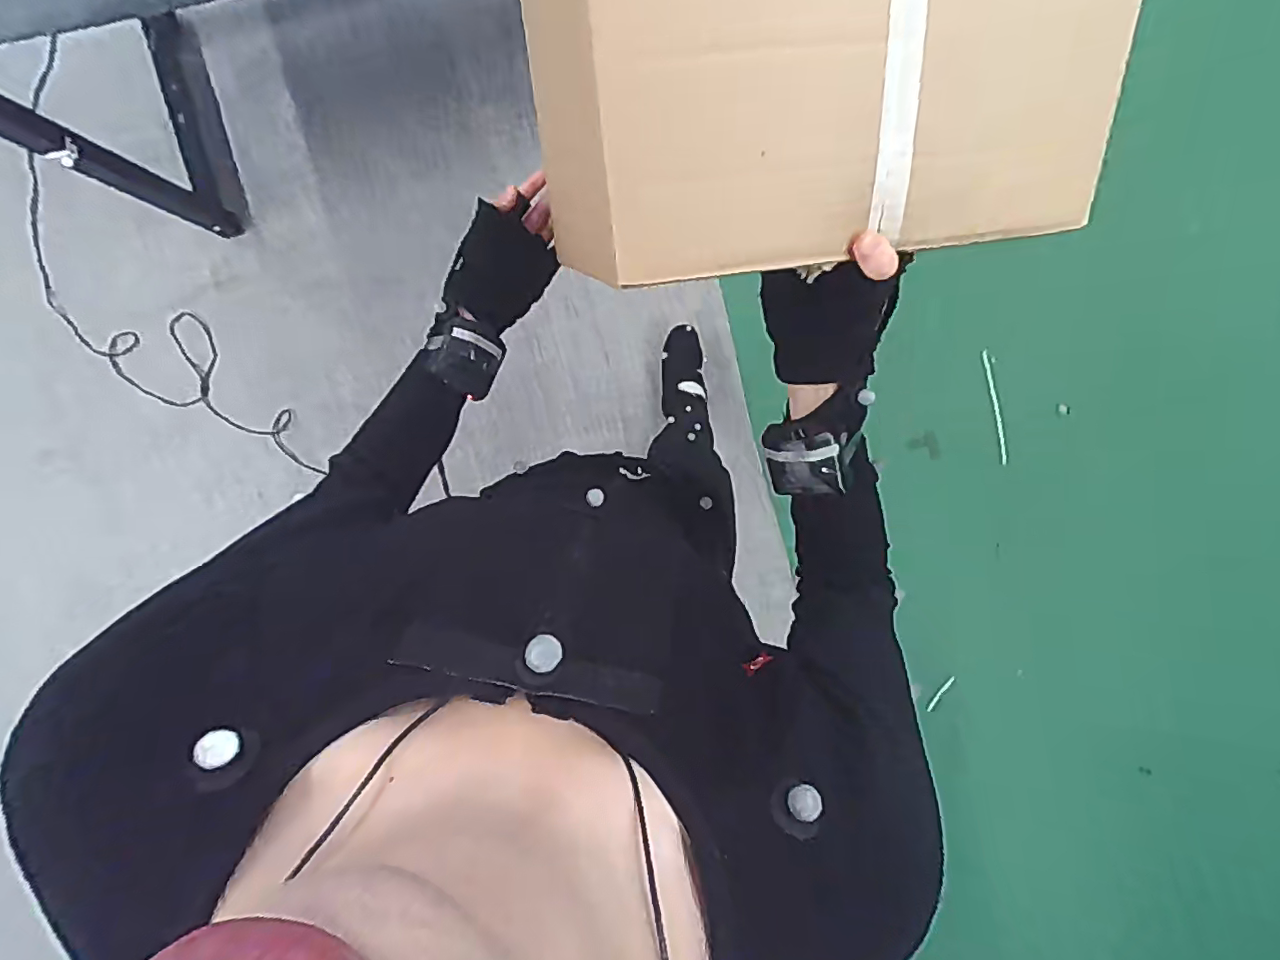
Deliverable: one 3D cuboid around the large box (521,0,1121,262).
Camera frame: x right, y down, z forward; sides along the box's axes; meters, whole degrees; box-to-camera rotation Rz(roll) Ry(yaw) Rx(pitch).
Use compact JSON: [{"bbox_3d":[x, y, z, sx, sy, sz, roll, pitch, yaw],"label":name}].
[{"bbox_3d":[0.075,-0.383,0.368,0.320,0.320,0.408,-11,114,-10],"label":"large box"}]
